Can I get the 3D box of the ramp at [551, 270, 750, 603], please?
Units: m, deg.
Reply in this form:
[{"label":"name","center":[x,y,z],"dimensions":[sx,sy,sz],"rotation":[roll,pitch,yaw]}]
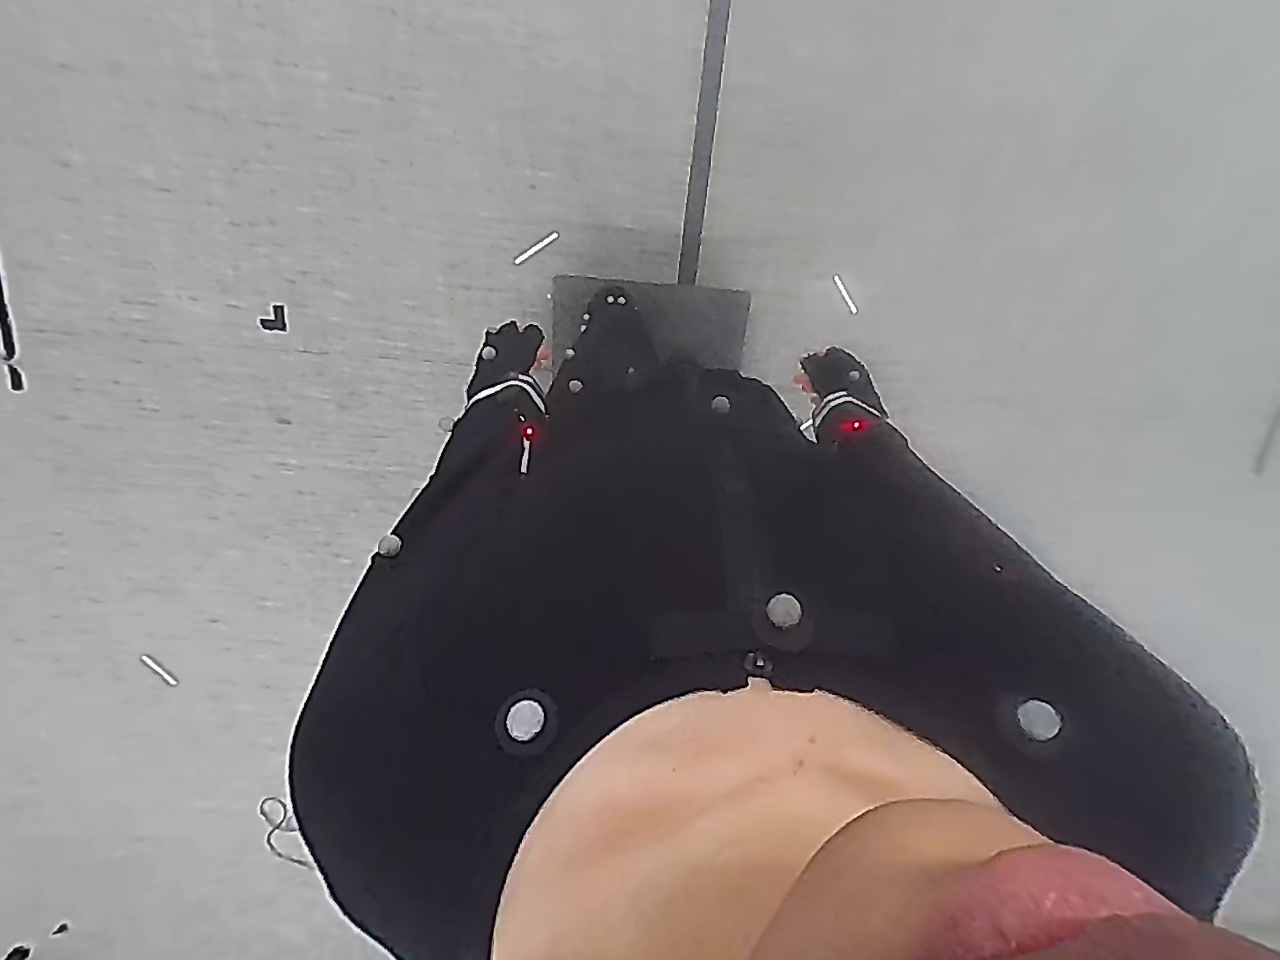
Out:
[{"label":"ramp","center":[-0.007,-0.053,1.541],"dimensions":[0.509,0.206,0.991],"rotation":[2,107,-3]}]
